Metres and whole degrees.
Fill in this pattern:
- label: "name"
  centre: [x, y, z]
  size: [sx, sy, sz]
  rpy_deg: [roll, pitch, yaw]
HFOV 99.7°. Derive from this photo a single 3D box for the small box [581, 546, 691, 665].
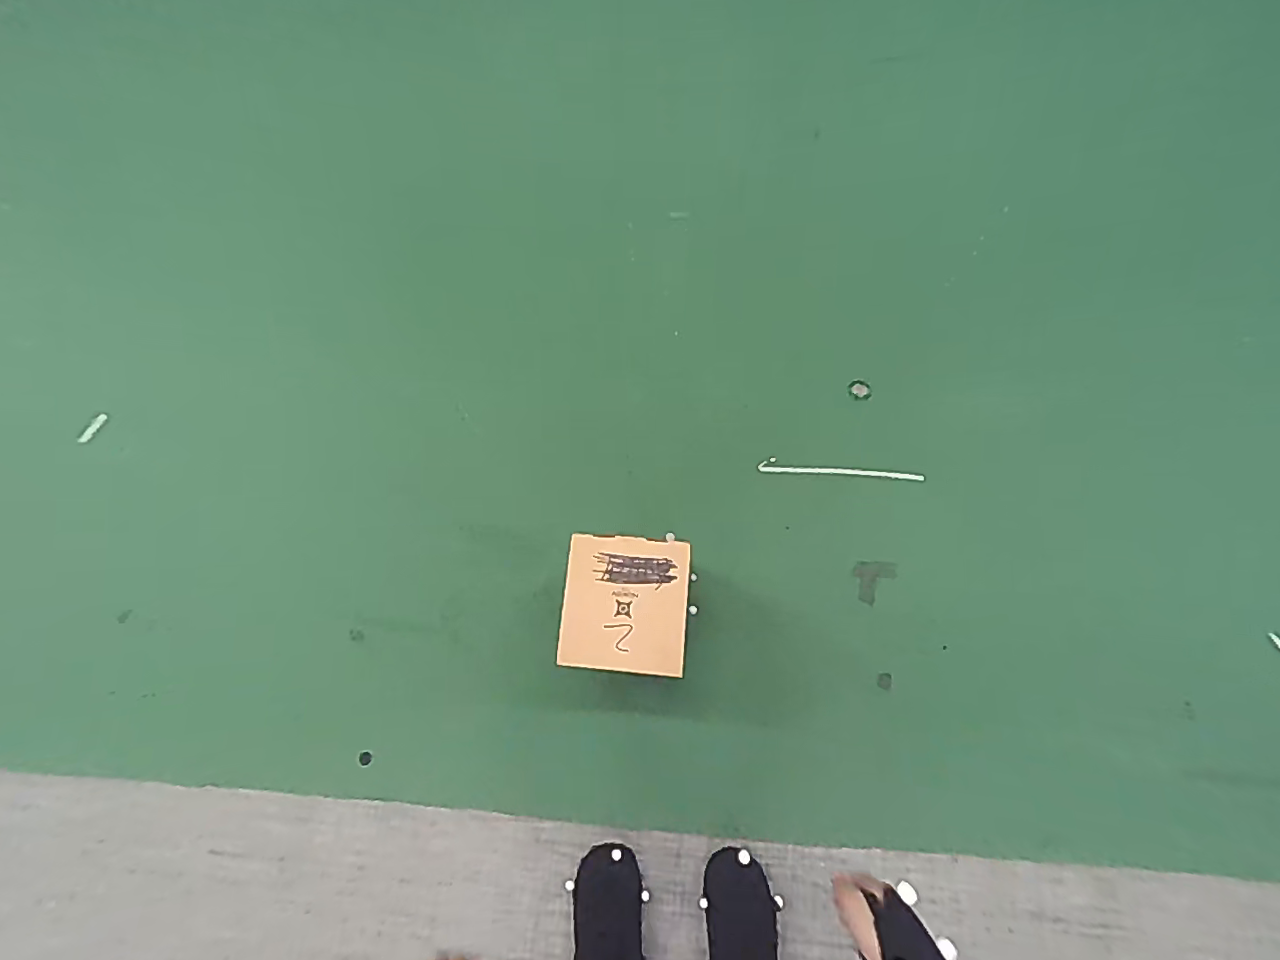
- label: "small box"
  centre: [0.002, 0.218, 0.942]
  size: [0.168, 0.176, 0.179]
  rpy_deg: [3, 76, 6]
